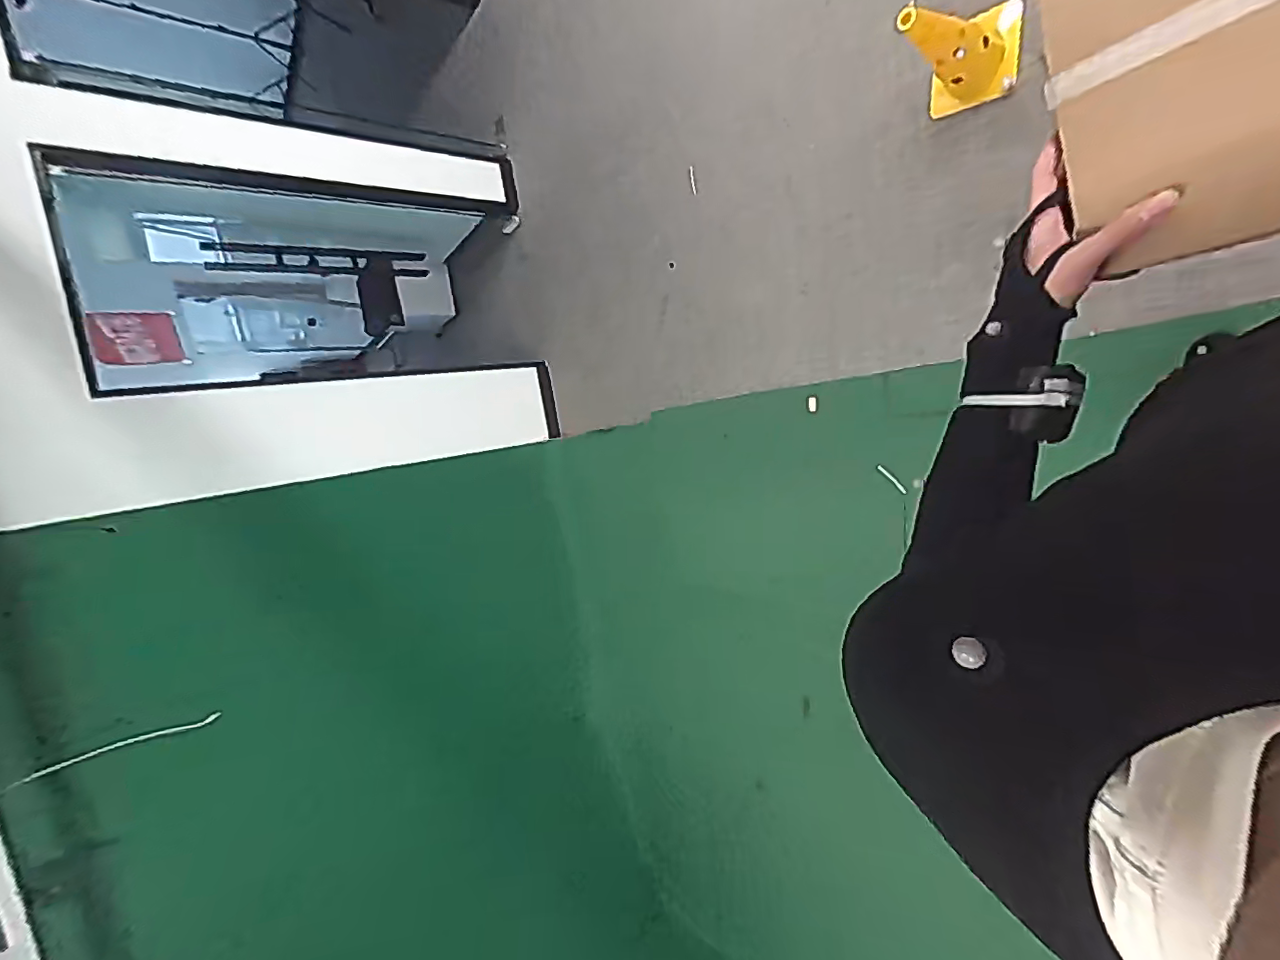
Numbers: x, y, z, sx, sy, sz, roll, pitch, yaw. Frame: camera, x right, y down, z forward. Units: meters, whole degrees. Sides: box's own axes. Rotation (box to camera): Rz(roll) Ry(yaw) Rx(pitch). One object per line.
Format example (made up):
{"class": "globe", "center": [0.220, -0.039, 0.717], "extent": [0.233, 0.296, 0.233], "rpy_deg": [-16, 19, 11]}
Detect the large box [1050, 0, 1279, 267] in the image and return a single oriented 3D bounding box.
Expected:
{"class": "large box", "center": [0.574, -0.387, 0.373], "extent": [0.408, 0.320, 0.320], "rpy_deg": [-5, 108, 52]}
